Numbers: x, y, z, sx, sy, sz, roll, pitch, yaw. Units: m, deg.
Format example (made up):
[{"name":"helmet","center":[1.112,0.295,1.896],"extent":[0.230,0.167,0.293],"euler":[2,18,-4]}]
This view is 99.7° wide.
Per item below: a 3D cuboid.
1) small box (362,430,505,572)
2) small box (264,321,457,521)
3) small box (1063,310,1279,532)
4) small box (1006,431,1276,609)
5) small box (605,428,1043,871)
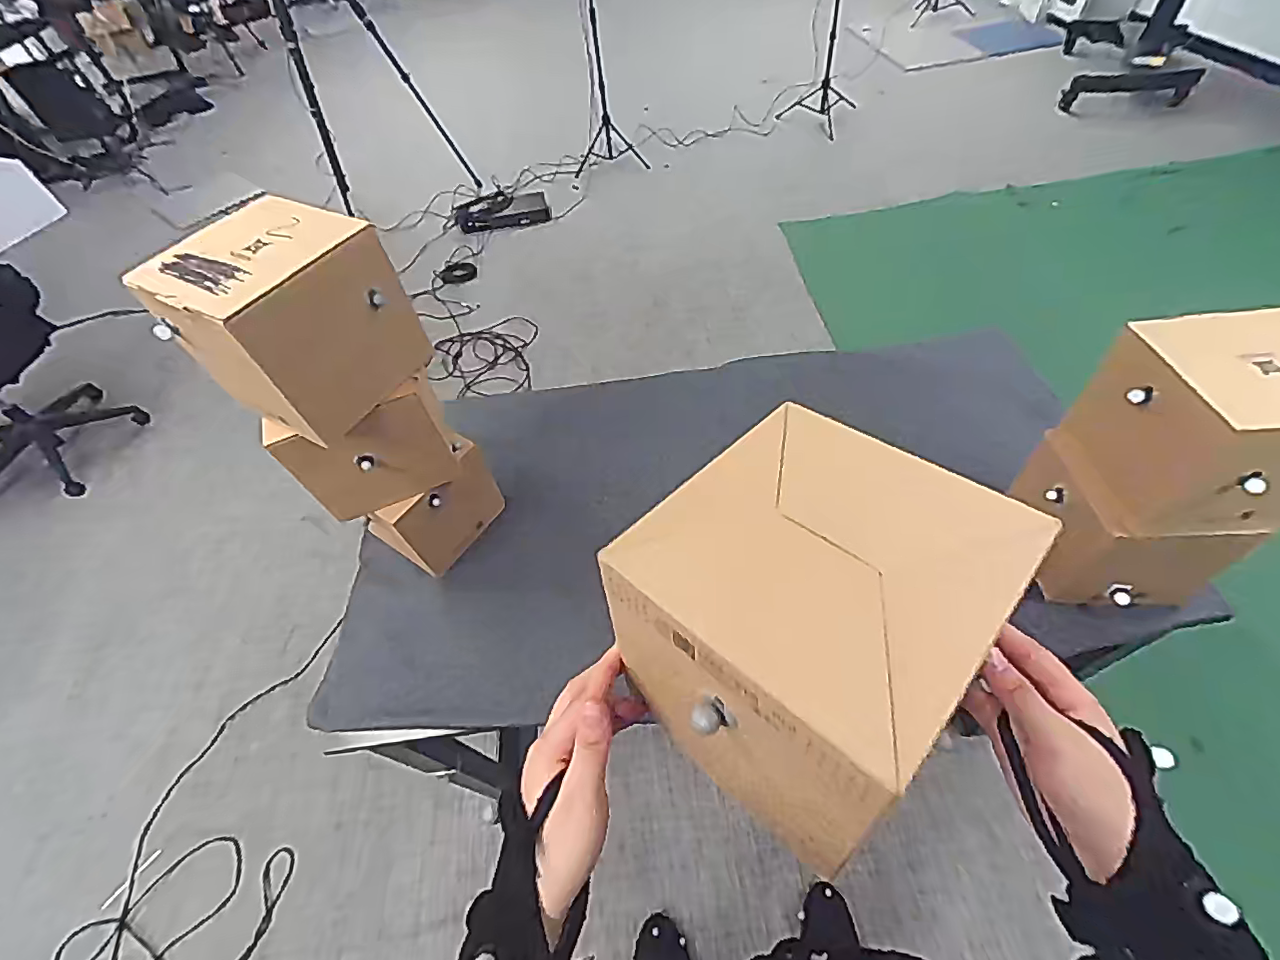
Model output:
[{"name":"small box","center":[-0.348,0.019,0.862],"extent":[0.179,0.176,0.168],"euler":[26,61,24]},{"name":"small box","center":[-0.363,-0.076,0.728],"extent":[0.179,0.176,0.168],"euler":[-23,55,-10]},{"name":"small box","center":[0.615,-0.056,0.584],"extent":[0.168,0.176,0.179],"euler":[-4,48,6]},{"name":"small box","center":[0.620,0.051,0.707],"extent":[0.168,0.176,0.179],"euler":[-3,50,8]},{"name":"small box","center":[0.100,0.090,0.333],"extent":[0.179,0.176,0.168],"euler":[-38,53,-26]}]
